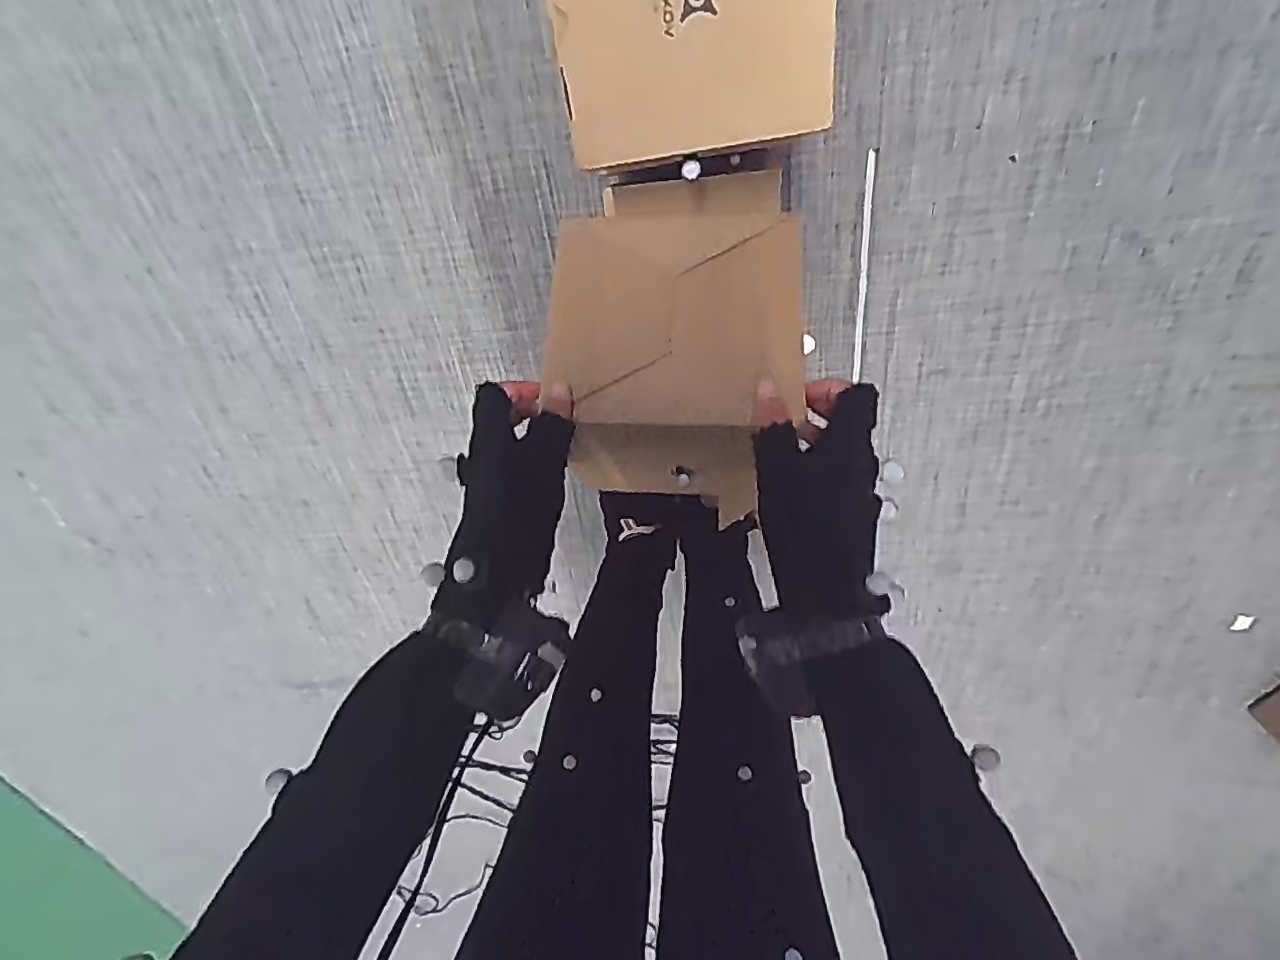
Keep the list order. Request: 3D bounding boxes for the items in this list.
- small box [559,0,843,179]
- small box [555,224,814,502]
[{"bbox_3d":[0.044,-0.333,0.404,0.179,0.176,0.168,-4,119,10],"label":"small box"},{"bbox_3d":[0.034,-0.085,0.445,0.179,0.168,0.176,2,162,7],"label":"small box"}]
